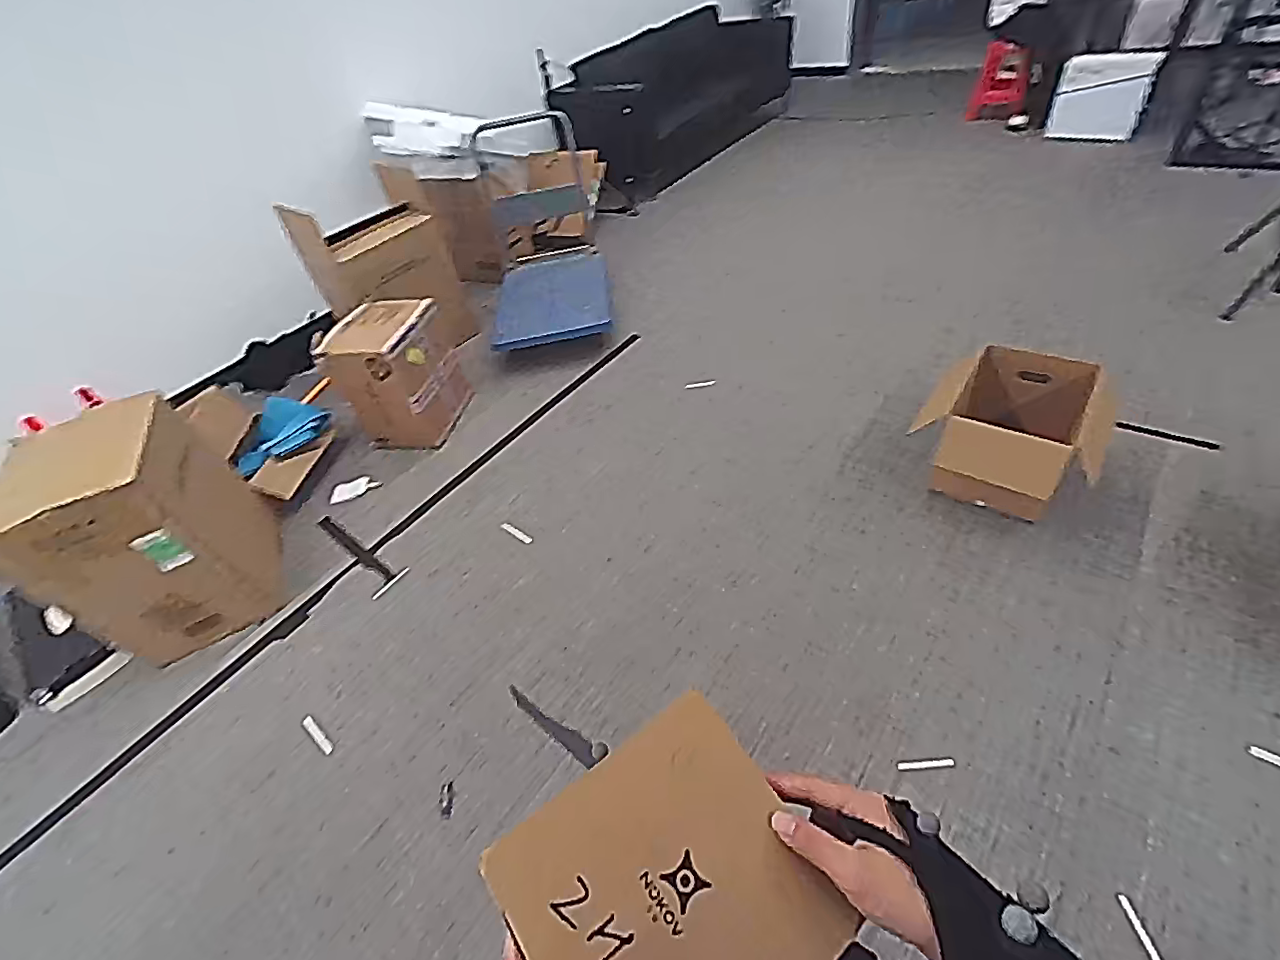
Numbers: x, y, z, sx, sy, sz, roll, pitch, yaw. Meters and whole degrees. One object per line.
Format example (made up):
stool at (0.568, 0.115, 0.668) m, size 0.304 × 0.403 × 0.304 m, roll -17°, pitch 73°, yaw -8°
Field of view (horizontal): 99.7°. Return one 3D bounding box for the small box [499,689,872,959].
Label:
small box at (0.020, 0.288, 0.393) m, size 0.179 × 0.176 × 0.168 m, roll -29°, pitch 62°, yaw -23°
